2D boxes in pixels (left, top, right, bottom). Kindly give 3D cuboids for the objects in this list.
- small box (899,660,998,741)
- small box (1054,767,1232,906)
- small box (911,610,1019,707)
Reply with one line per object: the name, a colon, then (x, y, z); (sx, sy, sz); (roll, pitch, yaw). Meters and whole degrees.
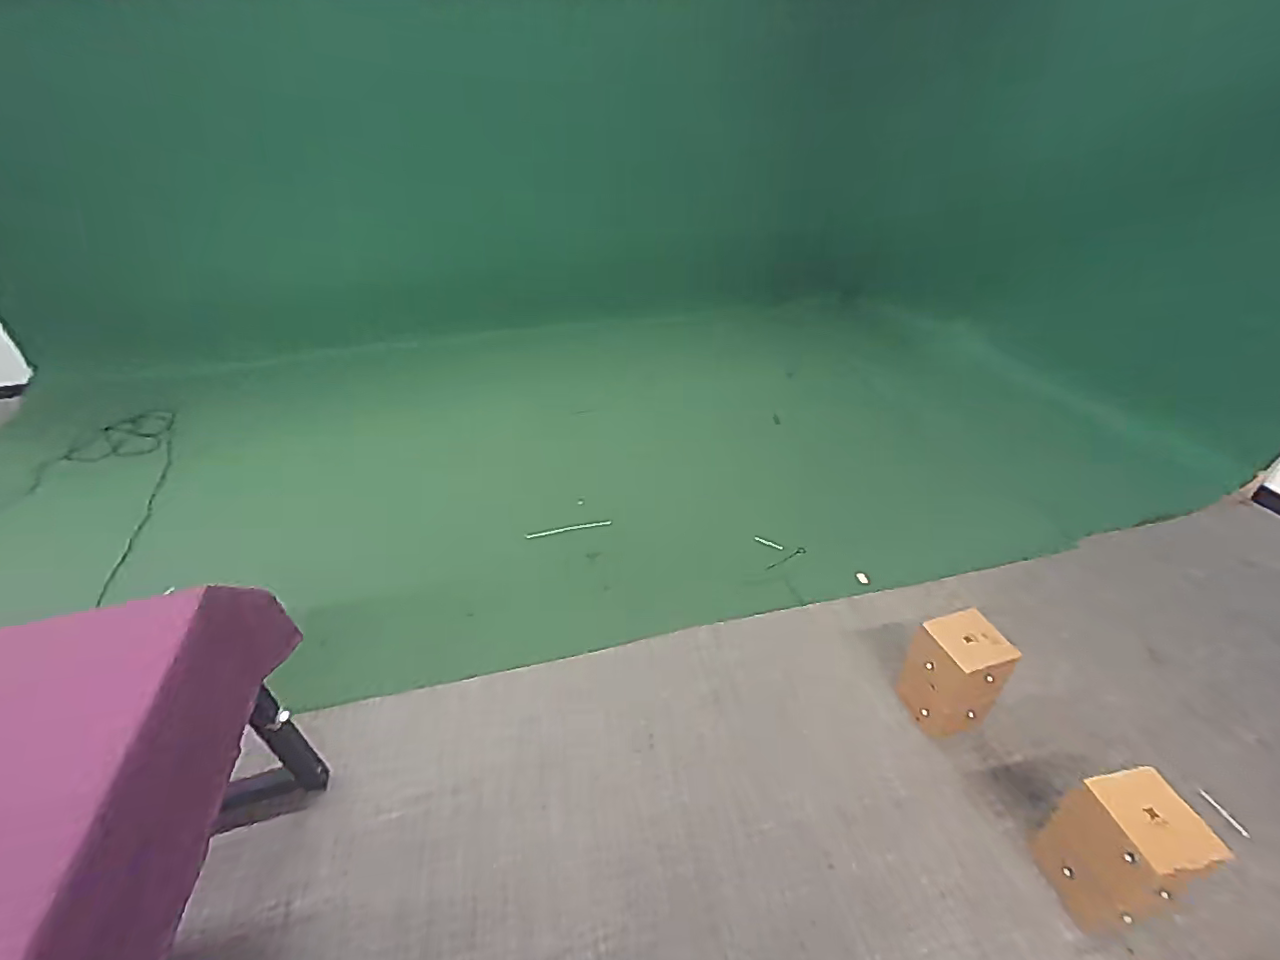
small box: (0.873, 0.619, 1.555); (0.179, 0.176, 0.168); (-10, 36, -11)
small box: (1.009, 0.727, 1.106); (0.168, 0.176, 0.179); (-7, 36, -6)
small box: (0.863, 0.484, 1.460); (0.179, 0.176, 0.168); (-11, 37, -11)
